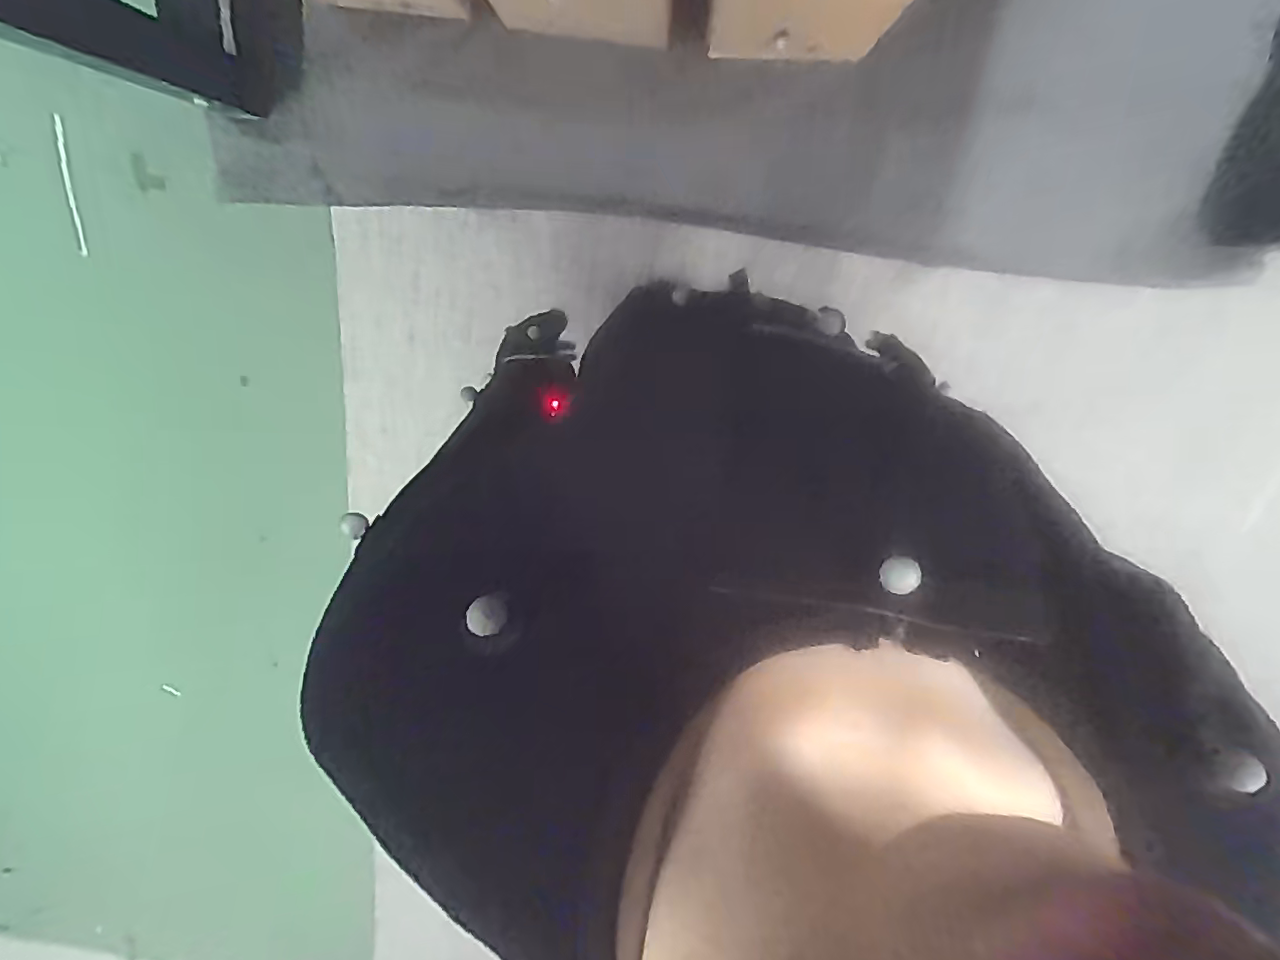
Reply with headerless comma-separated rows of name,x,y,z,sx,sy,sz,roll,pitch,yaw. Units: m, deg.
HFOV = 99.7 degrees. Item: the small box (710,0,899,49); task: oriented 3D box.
small box,0.152,-0.514,0.470,0.168,0.176,0.179,2,112,3
